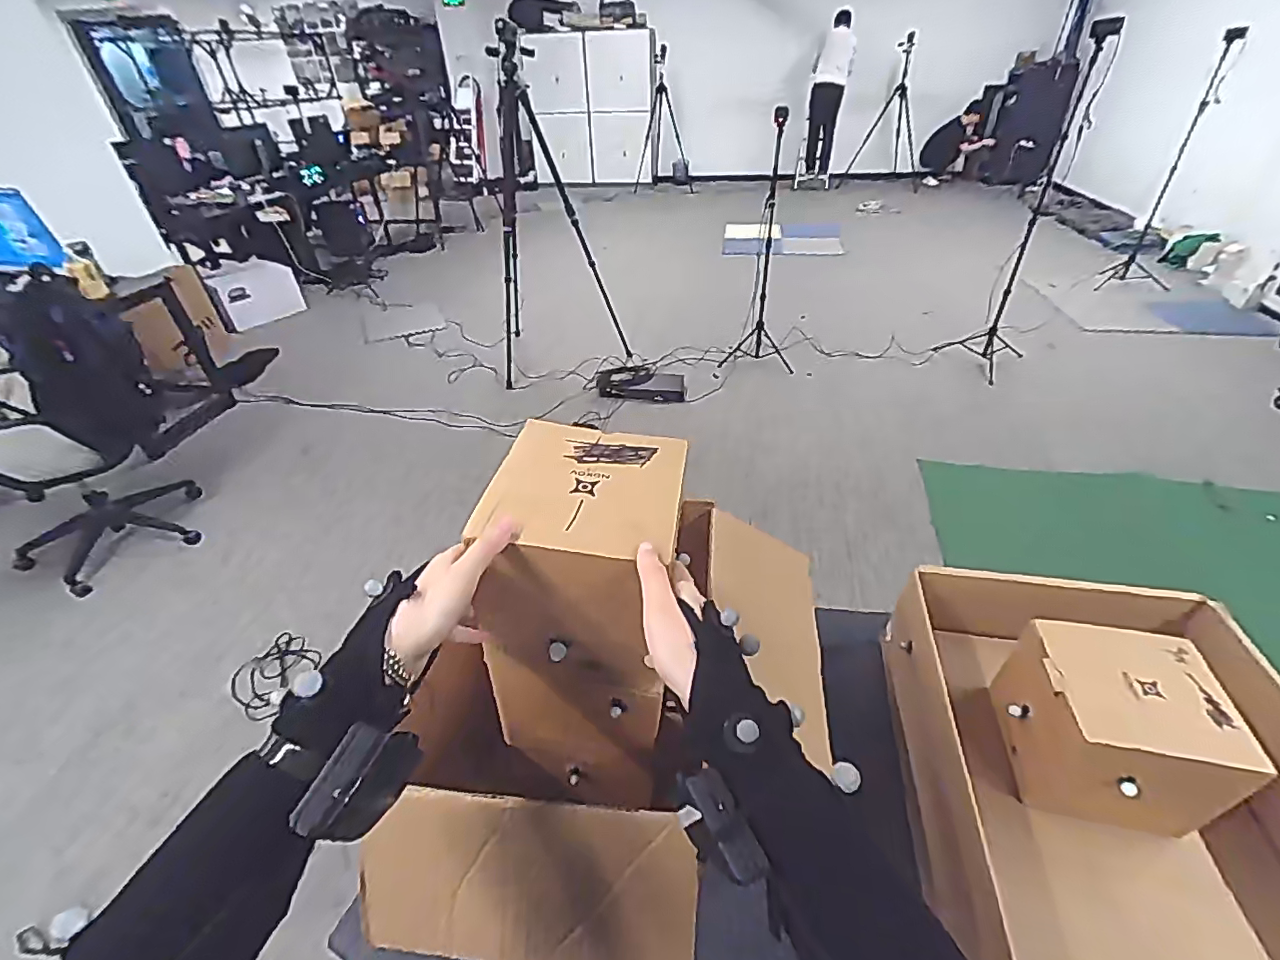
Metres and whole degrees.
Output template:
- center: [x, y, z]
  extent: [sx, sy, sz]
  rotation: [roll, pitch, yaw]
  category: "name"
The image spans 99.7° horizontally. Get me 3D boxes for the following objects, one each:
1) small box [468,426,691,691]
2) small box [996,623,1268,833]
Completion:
- center: [-0.047, 0.071, 0.525]
  extent: [0.168, 0.176, 0.179]
  rotation: [7, 37, 5]
  category: "small box"
- center: [0.570, 0.304, 0.667]
  extent: [0.179, 0.176, 0.168]
  rotation: [5, 39, 12]
  category: "small box"
